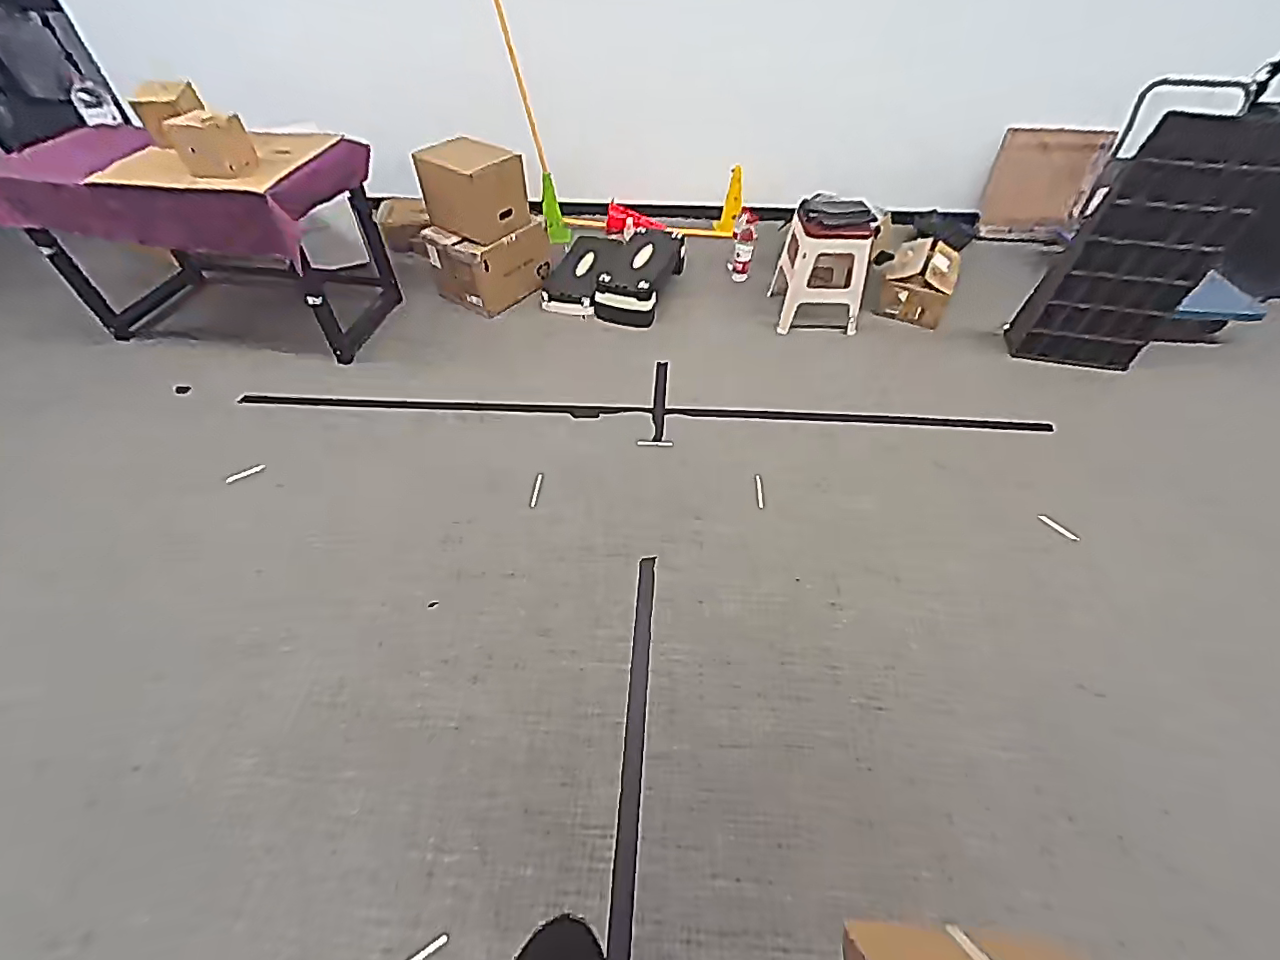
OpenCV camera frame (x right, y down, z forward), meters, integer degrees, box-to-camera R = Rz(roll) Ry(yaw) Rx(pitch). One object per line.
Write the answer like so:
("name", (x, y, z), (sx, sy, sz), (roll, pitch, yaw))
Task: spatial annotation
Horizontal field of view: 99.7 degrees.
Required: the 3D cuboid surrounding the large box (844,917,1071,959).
("large box", (0.436, 0.764, 0.573), (0.320, 0.408, 0.320), (4, 76, 3))
